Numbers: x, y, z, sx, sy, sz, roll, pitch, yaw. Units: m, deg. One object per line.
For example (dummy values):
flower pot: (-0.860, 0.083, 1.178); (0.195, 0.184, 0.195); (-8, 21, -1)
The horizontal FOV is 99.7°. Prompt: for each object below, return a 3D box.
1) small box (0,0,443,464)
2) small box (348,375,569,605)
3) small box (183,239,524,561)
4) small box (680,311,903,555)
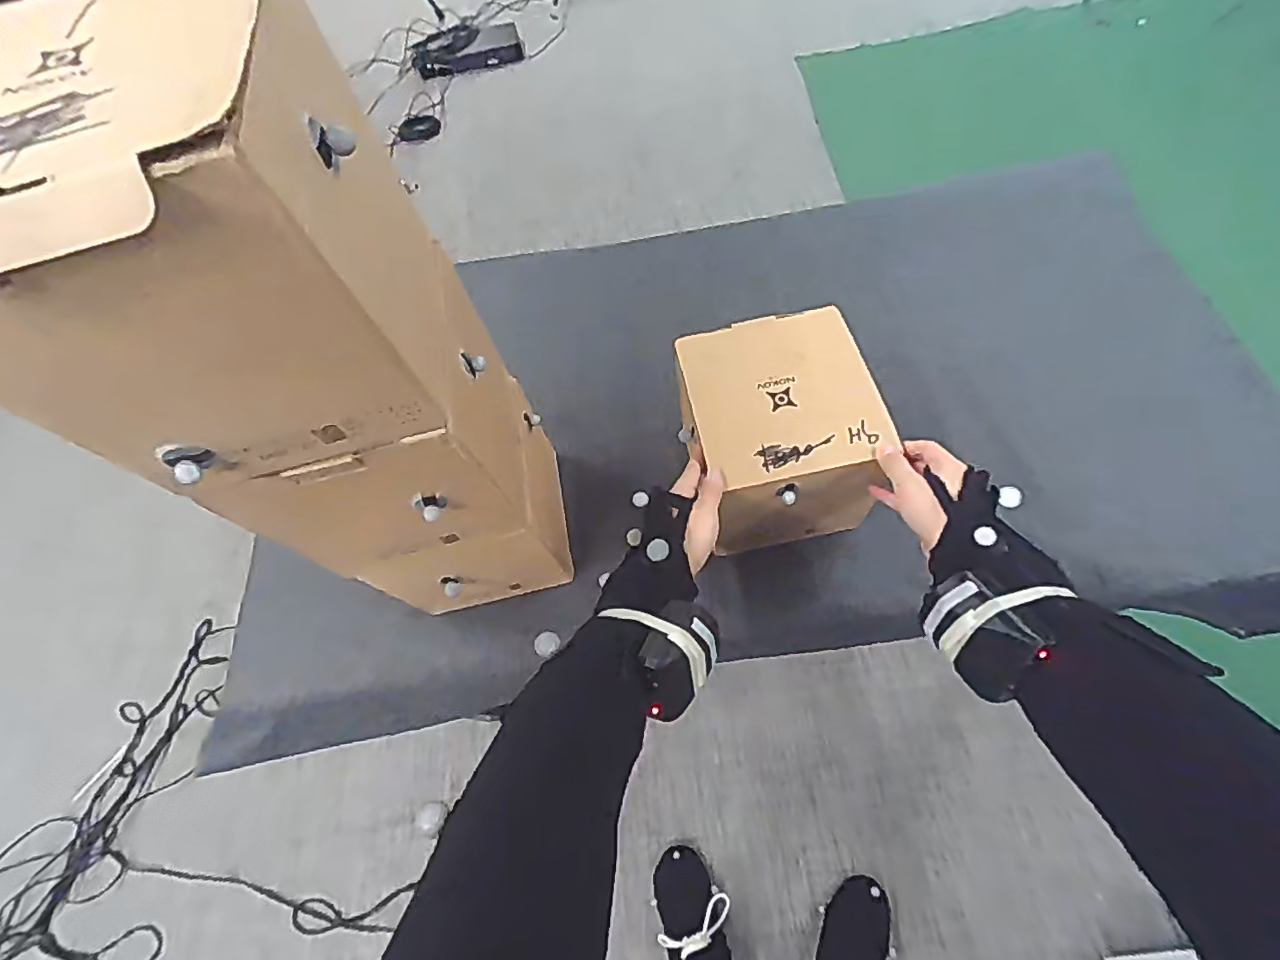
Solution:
small box: (-0.217, -0.125, 0.284); (0.168, 0.176, 0.179); (-15, 61, -2)
small box: (-0.180, 0.023, 0.573); (0.168, 0.176, 0.179); (-13, 62, 0)
small box: (-0.199, -0.048, 0.428); (0.168, 0.176, 0.179); (-13, 61, -1)
small box: (0.138, -0.041, 0.566); (0.168, 0.176, 0.179); (-12, 63, 1)
